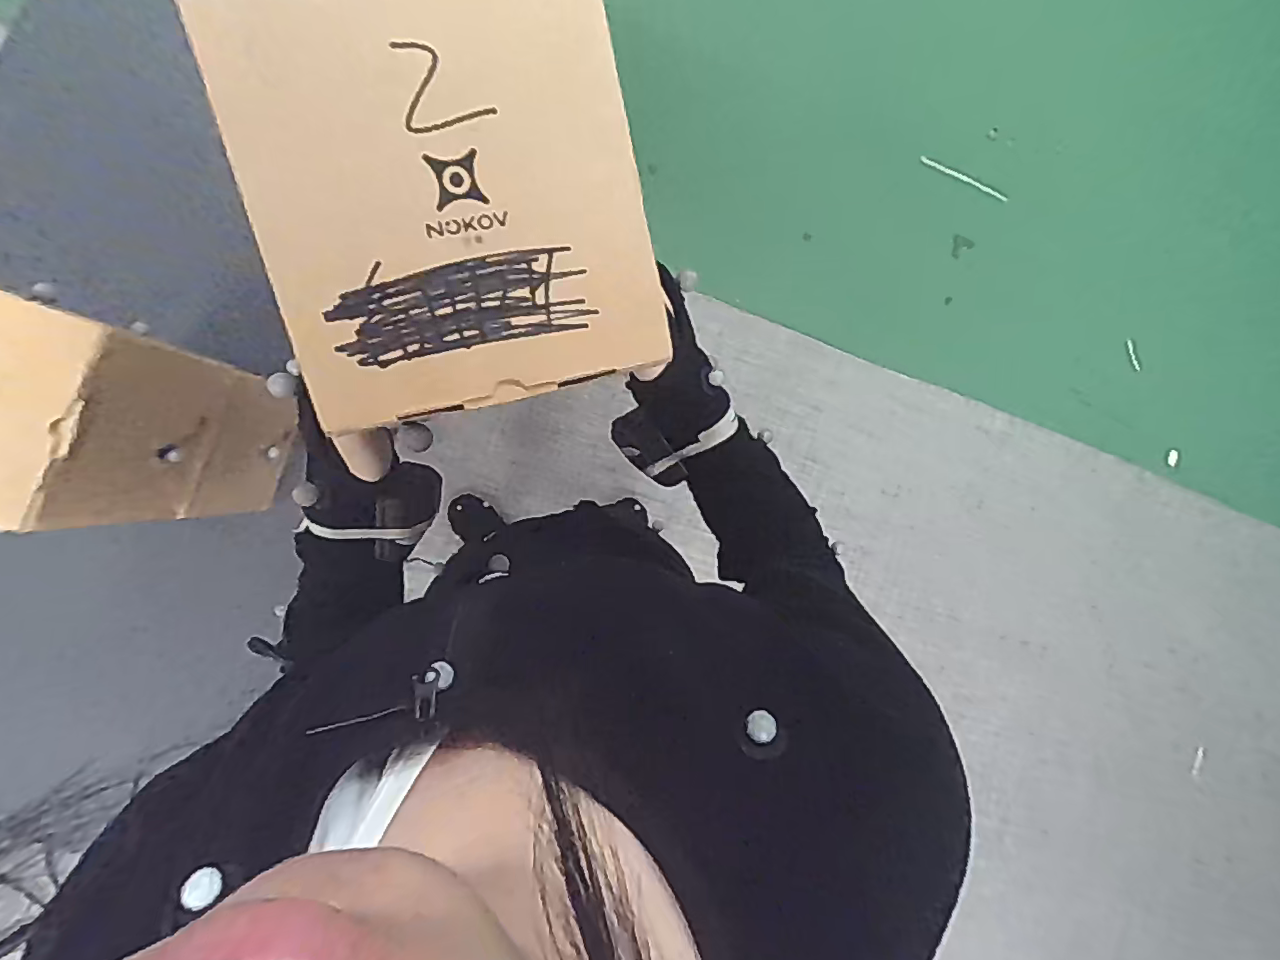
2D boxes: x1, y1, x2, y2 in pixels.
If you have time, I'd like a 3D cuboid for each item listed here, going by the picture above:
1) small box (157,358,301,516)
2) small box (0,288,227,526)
[{"bbox_3d":[-0.543,-0.064,0.628,0.179,0.176,0.168,18,88,-8],"label":"small box"},{"bbox_3d":[-0.520,-0.066,0.467,0.179,0.176,0.168,18,87,-8],"label":"small box"}]
